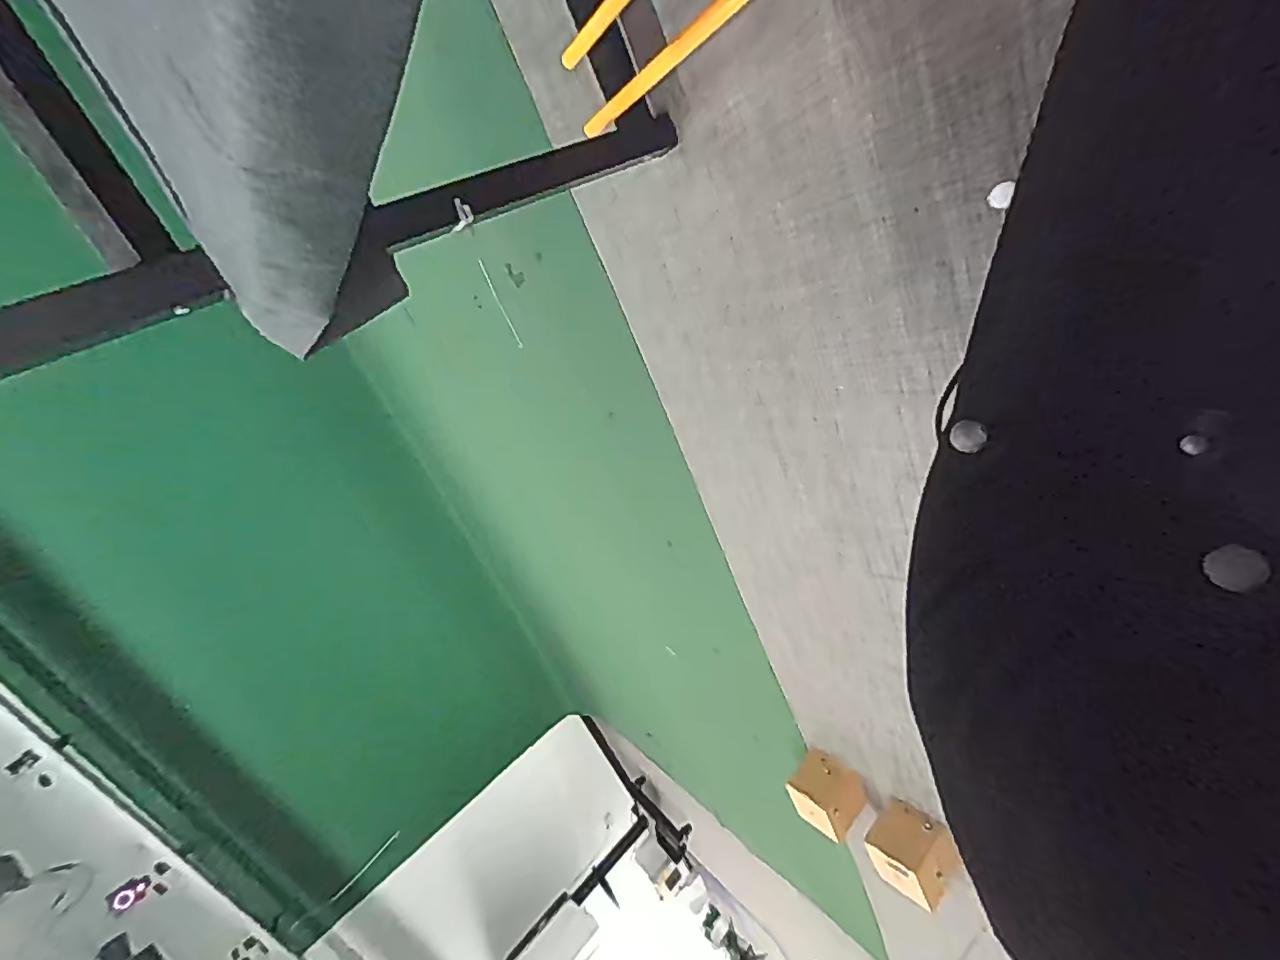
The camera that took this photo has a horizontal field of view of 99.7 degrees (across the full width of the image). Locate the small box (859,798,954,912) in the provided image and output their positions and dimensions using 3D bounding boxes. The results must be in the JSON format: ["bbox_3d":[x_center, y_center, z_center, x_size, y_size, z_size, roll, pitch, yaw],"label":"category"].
[{"bbox_3d":[0.773,1.074,1.565,0.168,0.176,0.179,3,124,57],"label":"small box"}]

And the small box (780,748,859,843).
[{"bbox_3d":[0.604,1.043,1.803,0.168,0.176,0.179,7,127,54],"label":"small box"}]
